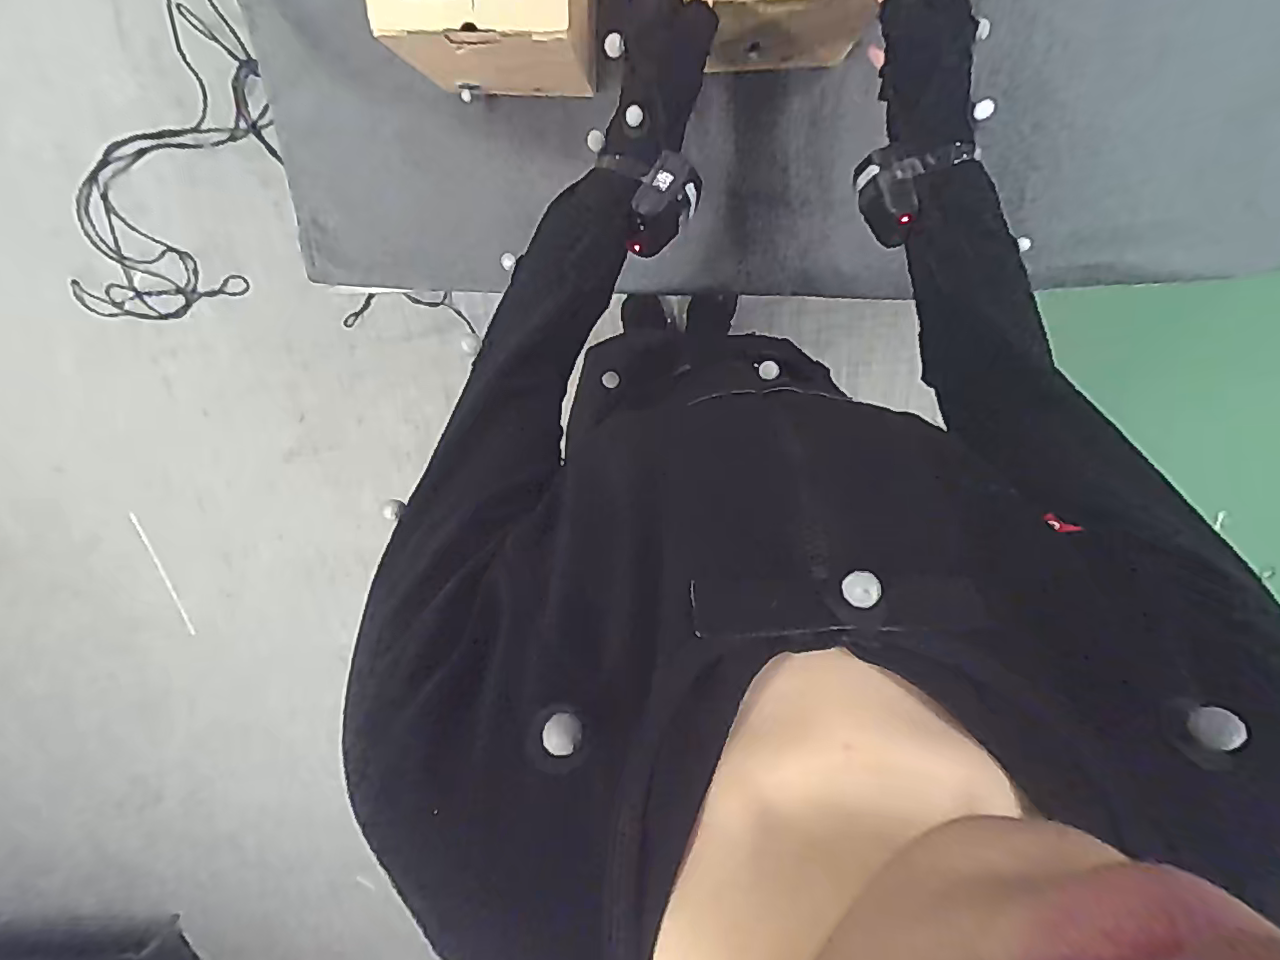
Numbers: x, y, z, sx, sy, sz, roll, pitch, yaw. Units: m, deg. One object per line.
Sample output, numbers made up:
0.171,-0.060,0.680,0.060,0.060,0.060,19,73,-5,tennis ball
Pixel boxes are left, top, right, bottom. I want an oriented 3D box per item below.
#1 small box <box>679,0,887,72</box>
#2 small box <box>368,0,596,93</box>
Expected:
0.118,-0.486,0.465,0.168,0.176,0.179,0,112,4,small box
-0.130,-0.471,0.483,0.168,0.176,0.179,3,110,2,small box
